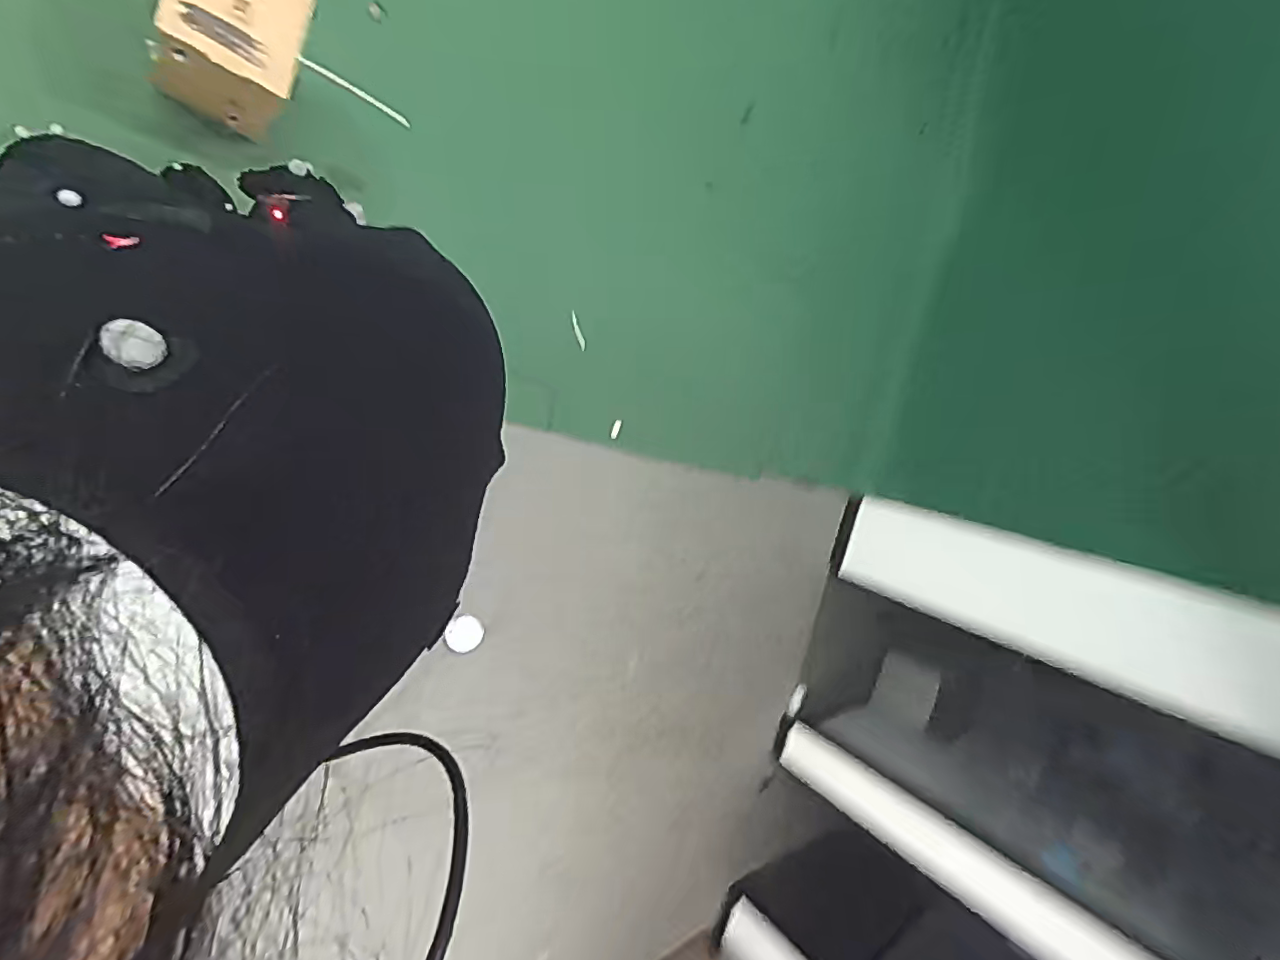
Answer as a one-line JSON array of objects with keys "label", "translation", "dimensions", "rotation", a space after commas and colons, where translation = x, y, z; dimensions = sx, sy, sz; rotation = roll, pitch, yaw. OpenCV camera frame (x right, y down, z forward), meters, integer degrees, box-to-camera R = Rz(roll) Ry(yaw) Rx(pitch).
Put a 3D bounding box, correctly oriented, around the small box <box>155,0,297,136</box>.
[{"label": "small box", "translation": [-0.771, -0.785, 1.010], "dimensions": [0.168, 0.176, 0.179], "rotation": [18, 92, -43]}]
